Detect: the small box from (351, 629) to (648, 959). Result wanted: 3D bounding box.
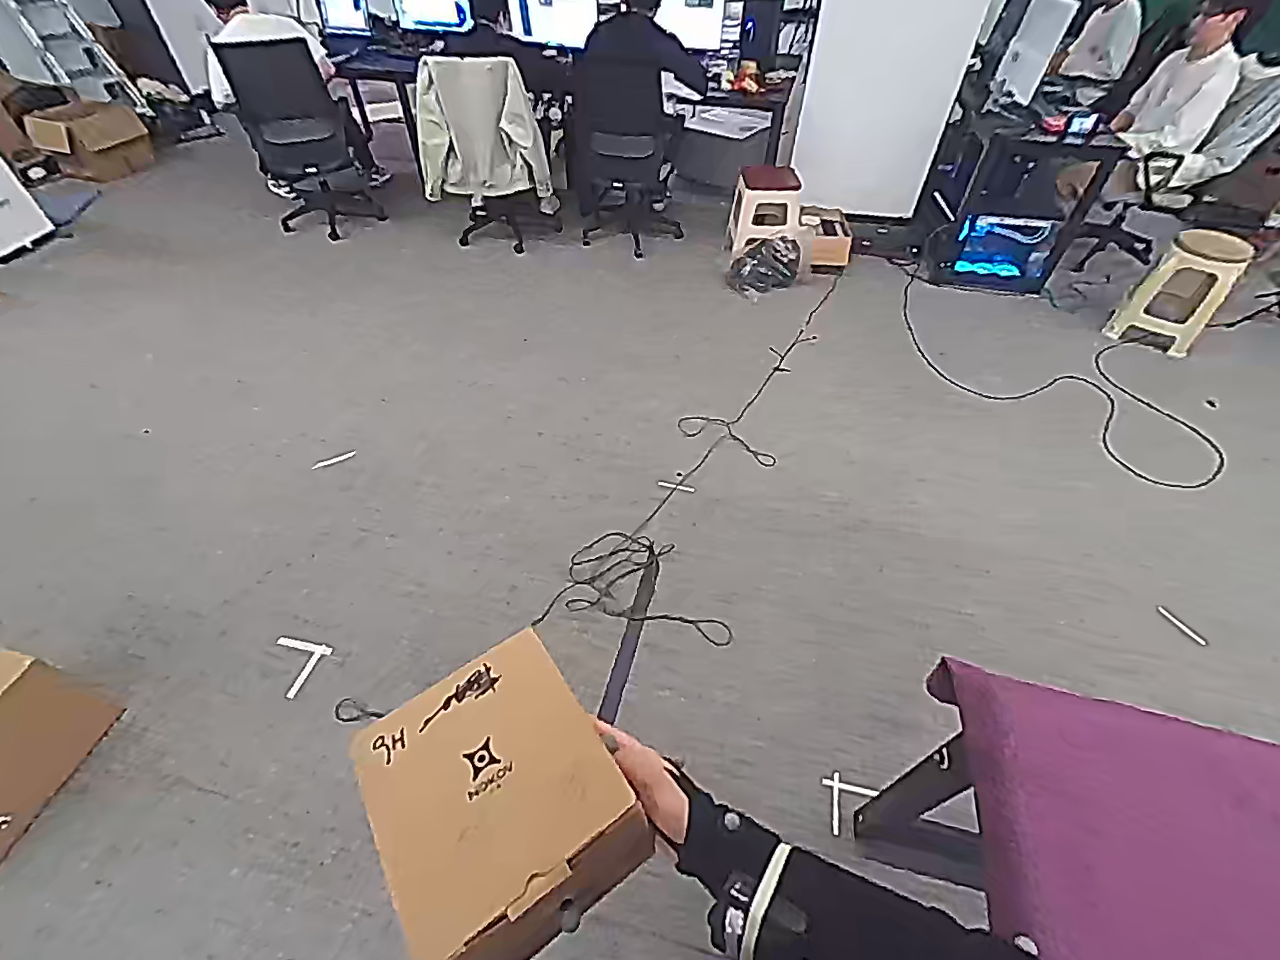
[{"bbox_3d":[-0.106,0.269,0.459,0.168,0.176,0.179,-29,51,-20],"label":"small box"}]
